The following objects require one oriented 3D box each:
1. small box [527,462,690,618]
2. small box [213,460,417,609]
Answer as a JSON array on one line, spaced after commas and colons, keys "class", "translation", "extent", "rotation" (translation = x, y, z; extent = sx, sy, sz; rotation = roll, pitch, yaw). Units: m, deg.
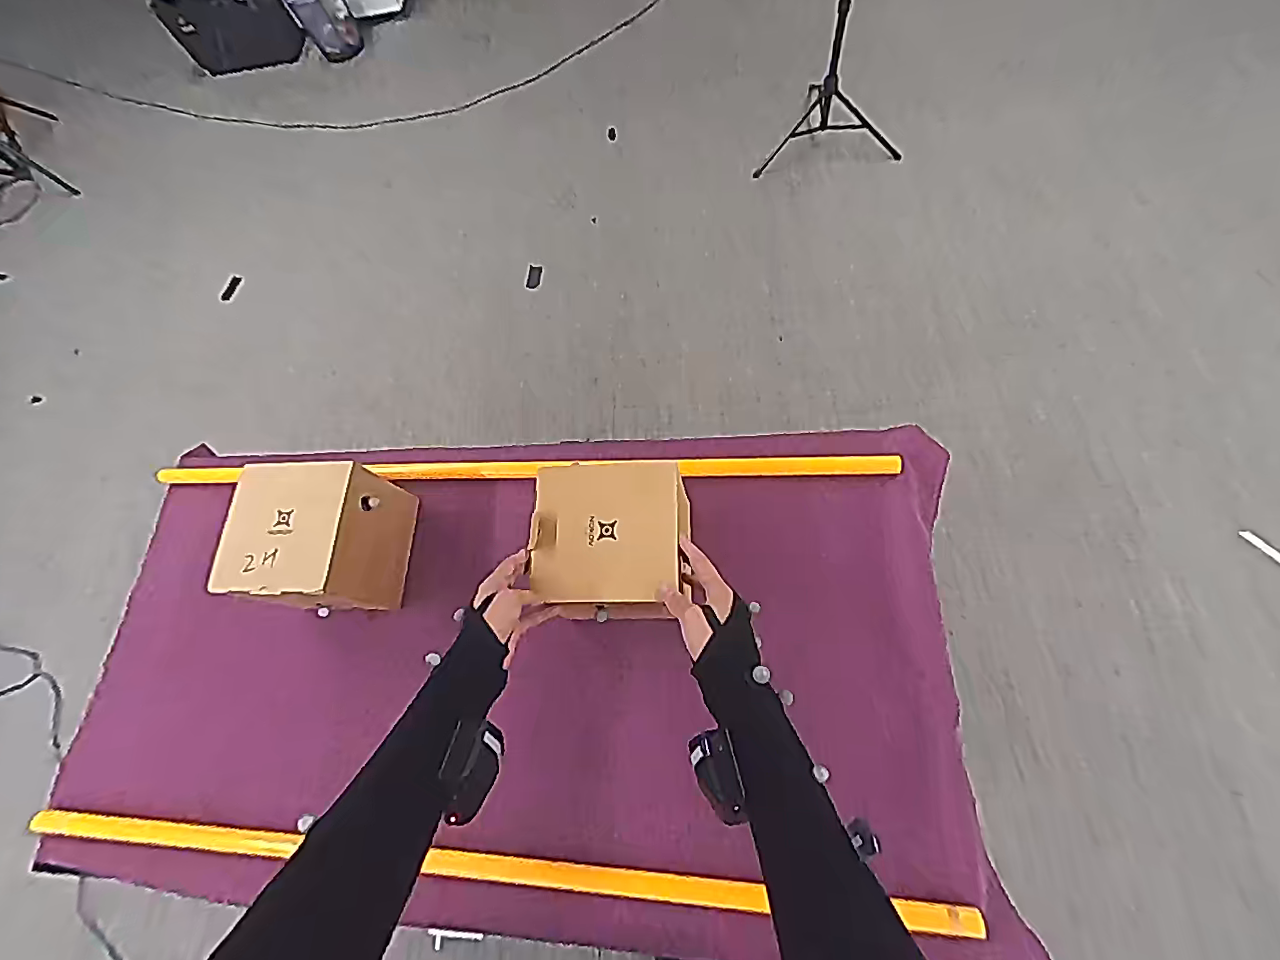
[{"class": "small box", "translation": [-0.028, 0.084, 0.698], "extent": [0.179, 0.176, 0.168], "rotation": [-3, 69, 11]}, {"class": "small box", "translation": [-0.444, 0.083, 0.773], "extent": [0.168, 0.176, 0.179], "rotation": [-1, 70, 9]}]
